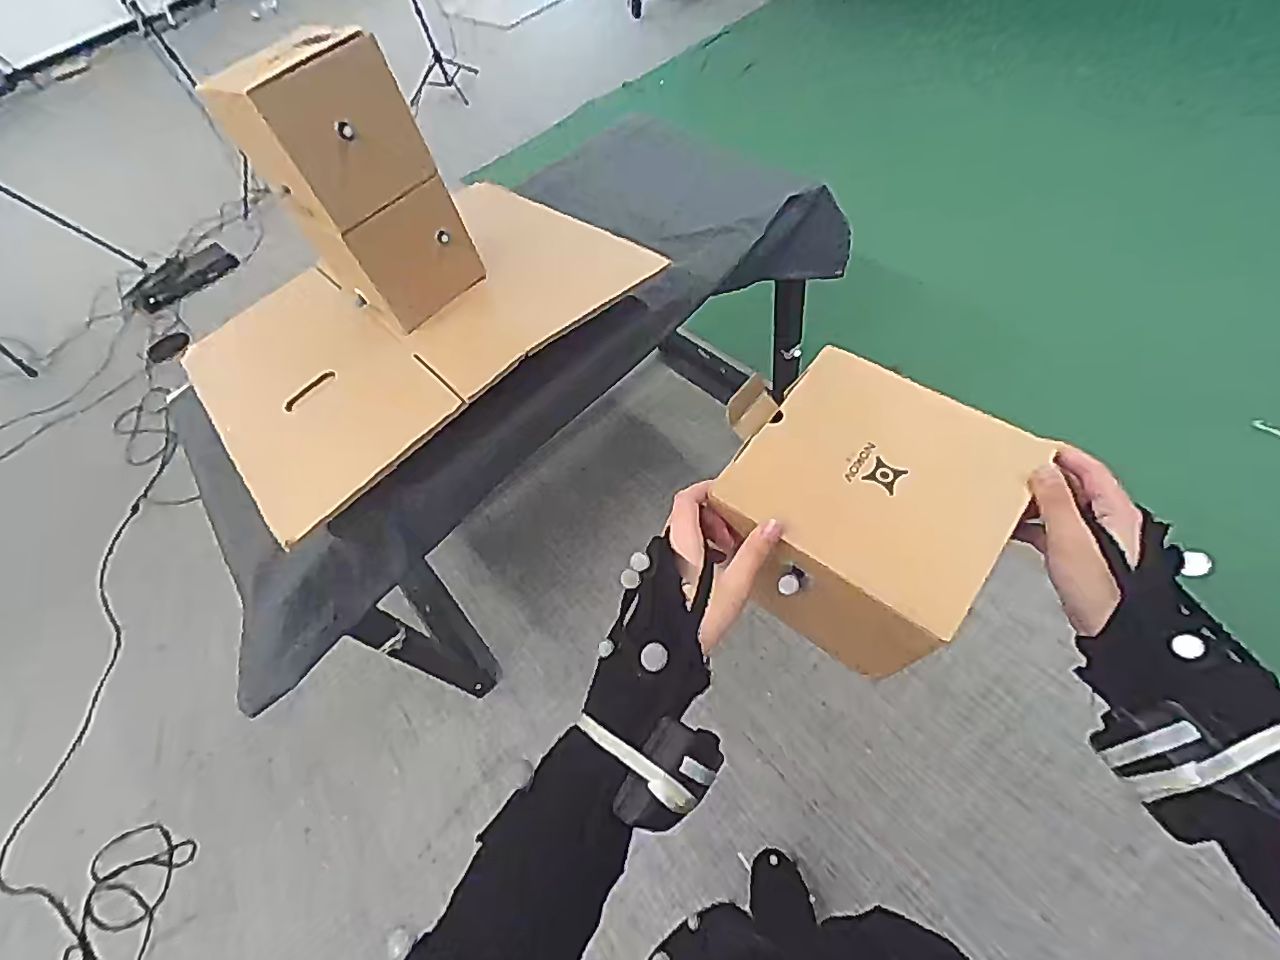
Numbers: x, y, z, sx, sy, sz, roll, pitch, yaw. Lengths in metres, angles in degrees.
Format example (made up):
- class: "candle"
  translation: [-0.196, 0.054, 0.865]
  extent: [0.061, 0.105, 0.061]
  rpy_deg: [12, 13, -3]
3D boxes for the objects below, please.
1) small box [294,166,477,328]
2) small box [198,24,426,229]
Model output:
- class: "small box"
  translation: [-0.382, -0.374, 0.849]
  extent: [0.168, 0.176, 0.179]
  rpy_deg: [30, 68, 31]
- class: "small box"
  translation: [-0.416, -0.470, 0.720]
  extent: [0.168, 0.176, 0.179]
  rpy_deg: [29, 67, 30]
